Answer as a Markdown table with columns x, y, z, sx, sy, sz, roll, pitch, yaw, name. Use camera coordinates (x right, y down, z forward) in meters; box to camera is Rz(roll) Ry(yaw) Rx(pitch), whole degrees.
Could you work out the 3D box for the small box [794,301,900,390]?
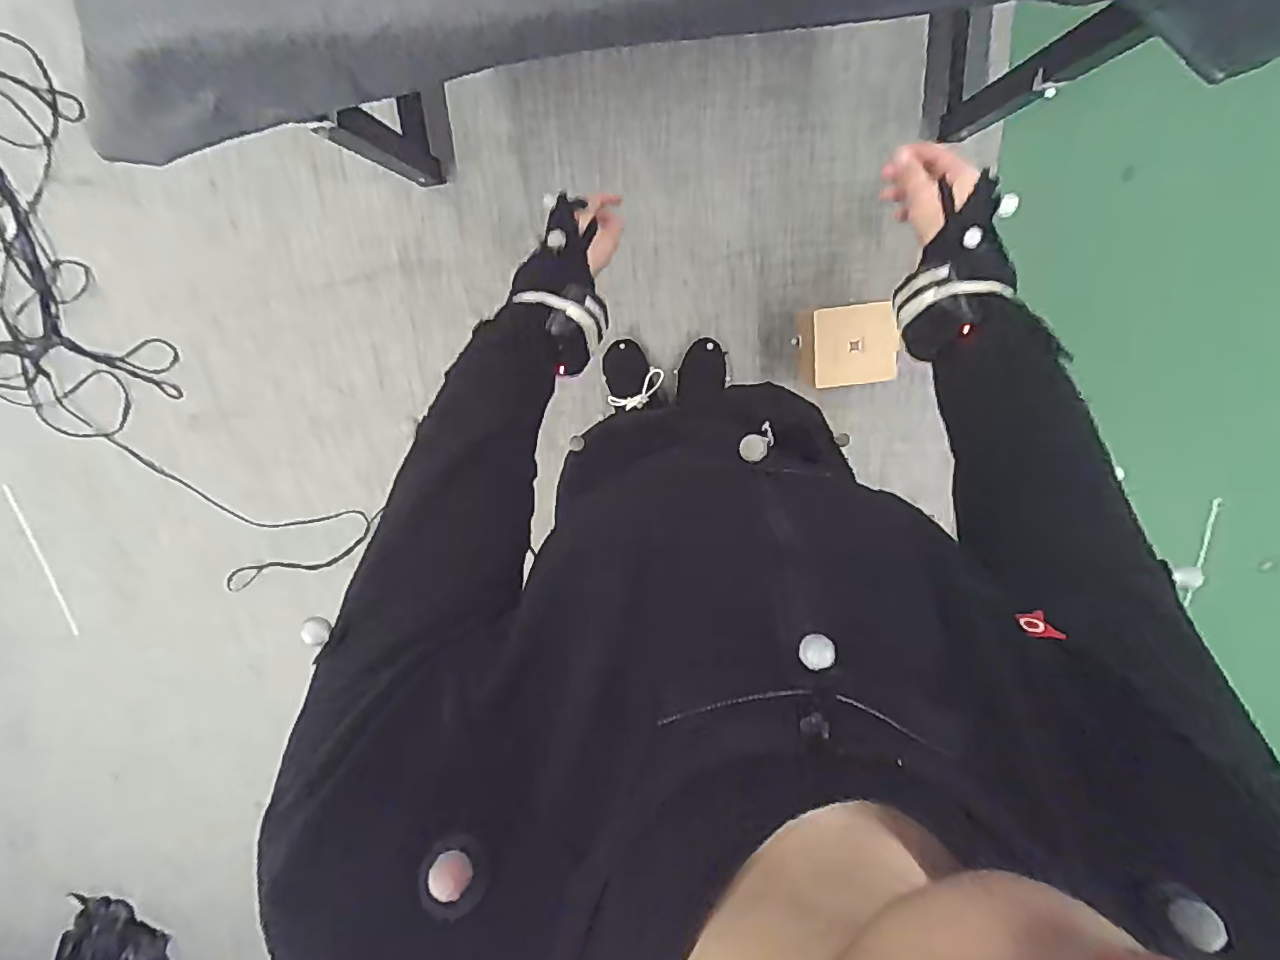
| x | y | z | sx | sy | sz | roll | pitch | yaw | name |
| --- | --- | --- | --- | --- | --- | --- | --- | --- | --- |
| 0.453 | -0.302 | 1.198 | 0.179 | 0.176 | 0.168 | -7 | 106 | 4 | small box |
